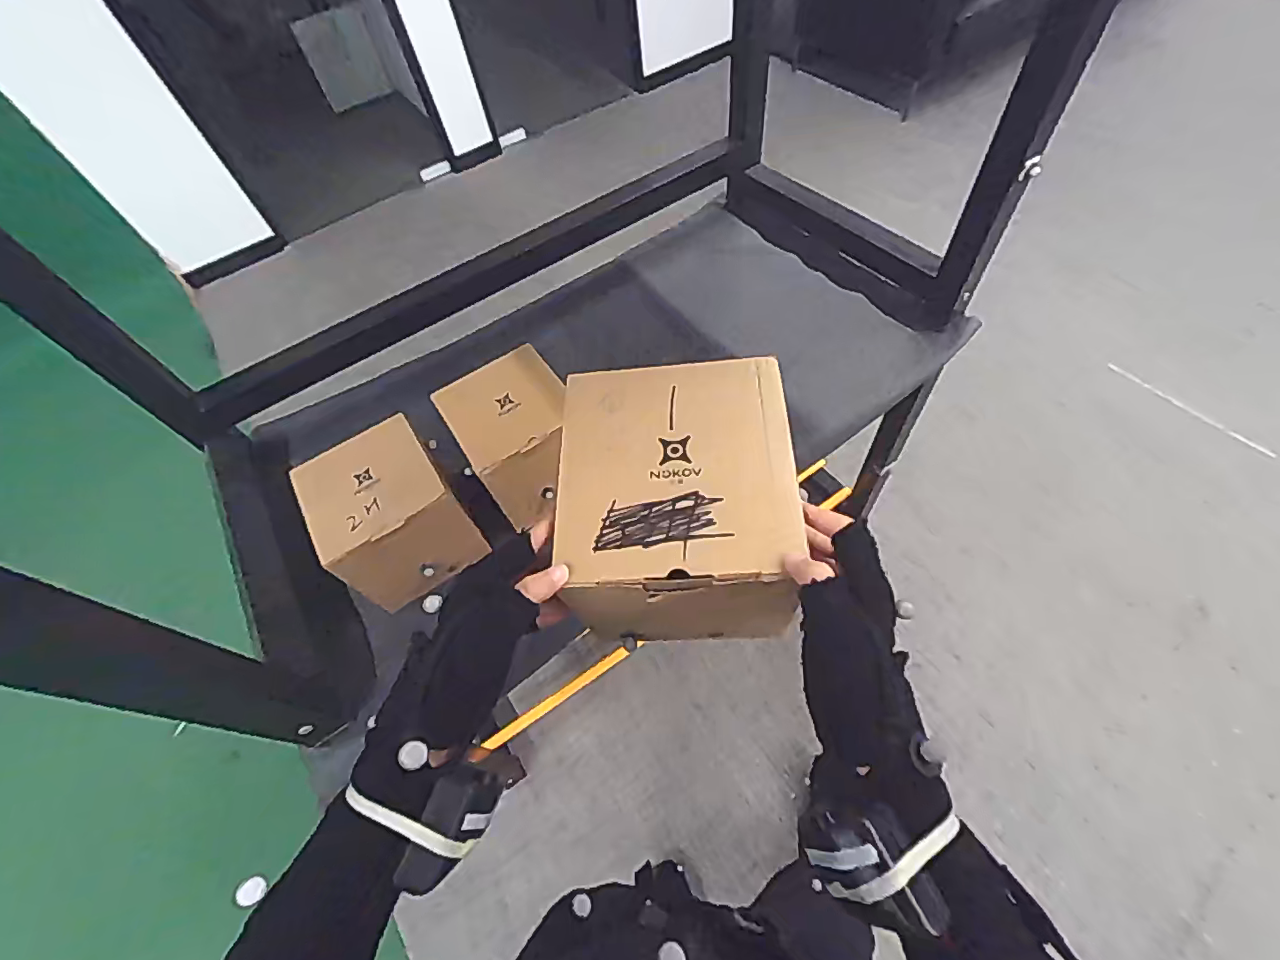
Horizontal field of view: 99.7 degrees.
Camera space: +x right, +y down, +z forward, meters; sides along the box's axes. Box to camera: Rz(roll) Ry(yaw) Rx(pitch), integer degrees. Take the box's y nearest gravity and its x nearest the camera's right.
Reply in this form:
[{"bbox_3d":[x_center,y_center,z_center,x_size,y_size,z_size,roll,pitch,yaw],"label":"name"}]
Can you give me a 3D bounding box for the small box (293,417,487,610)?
[{"bbox_3d":[-0.344,0.051,0.764,0.168,0.176,0.179,-32,58,-14],"label":"small box"}]
